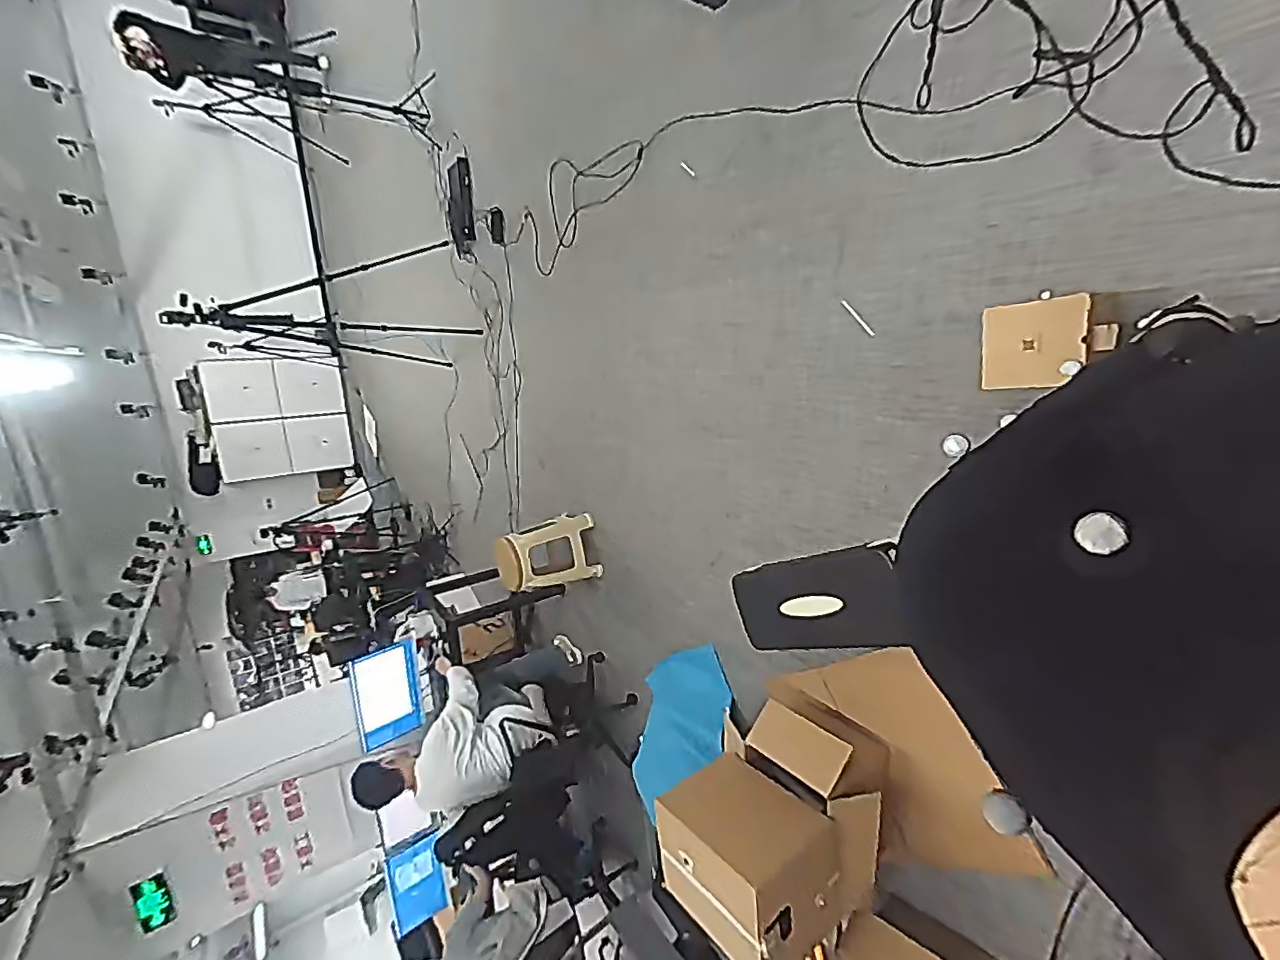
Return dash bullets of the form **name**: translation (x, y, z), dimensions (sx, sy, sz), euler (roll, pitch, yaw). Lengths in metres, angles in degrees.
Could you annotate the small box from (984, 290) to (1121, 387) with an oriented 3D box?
- **small box**: translation (0.821, -0.274, 1.080), dimensions (0.179, 0.176, 0.168), euler (7, 105, 53)
